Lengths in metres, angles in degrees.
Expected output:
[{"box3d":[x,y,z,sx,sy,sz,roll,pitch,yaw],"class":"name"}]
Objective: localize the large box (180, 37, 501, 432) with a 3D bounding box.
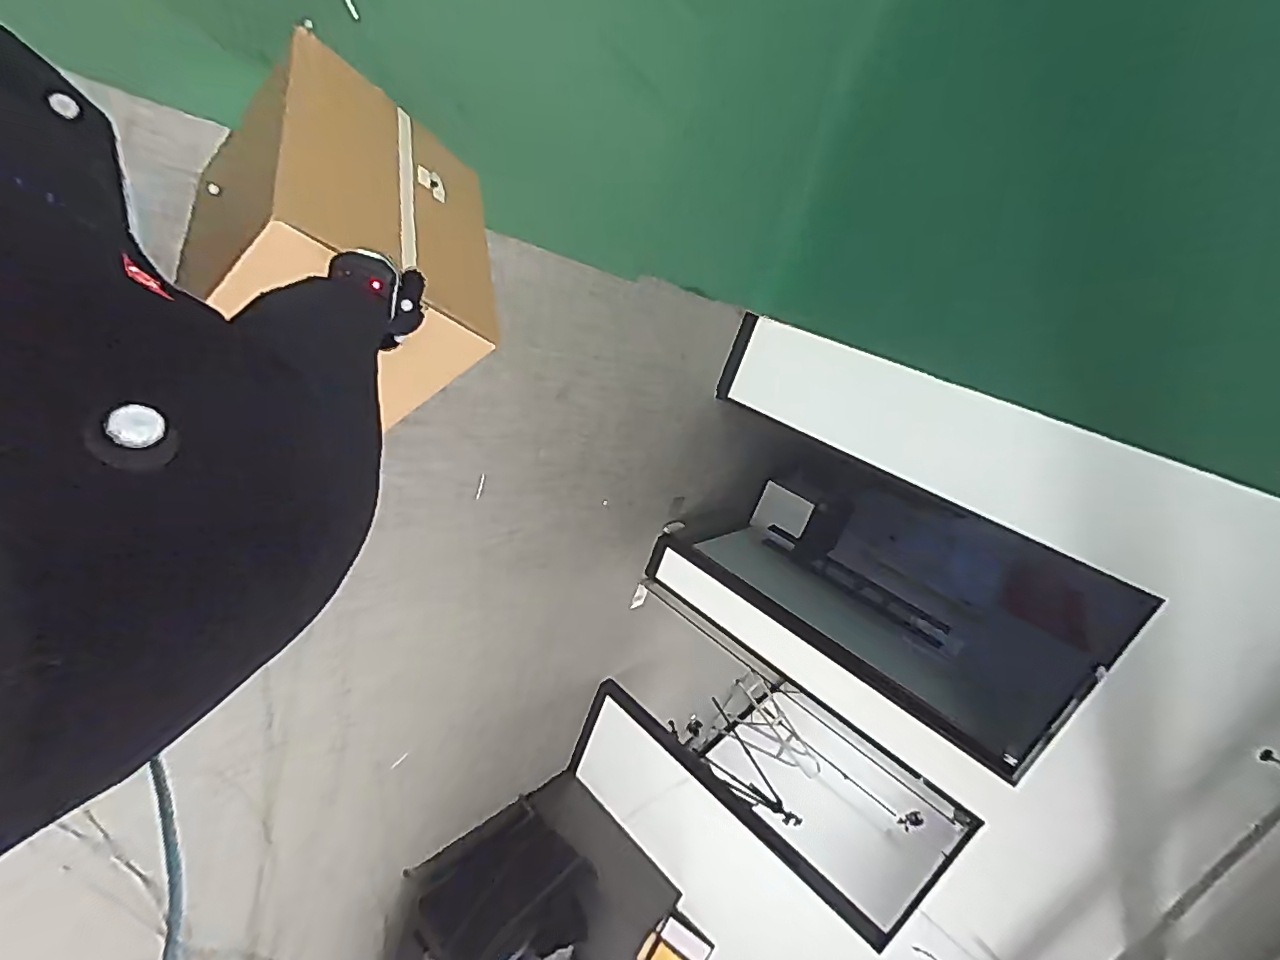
[{"box3d":[-0.460,-0.346,0.853,0.320,0.408,0.320,-27,151,26],"class":"large box"}]
